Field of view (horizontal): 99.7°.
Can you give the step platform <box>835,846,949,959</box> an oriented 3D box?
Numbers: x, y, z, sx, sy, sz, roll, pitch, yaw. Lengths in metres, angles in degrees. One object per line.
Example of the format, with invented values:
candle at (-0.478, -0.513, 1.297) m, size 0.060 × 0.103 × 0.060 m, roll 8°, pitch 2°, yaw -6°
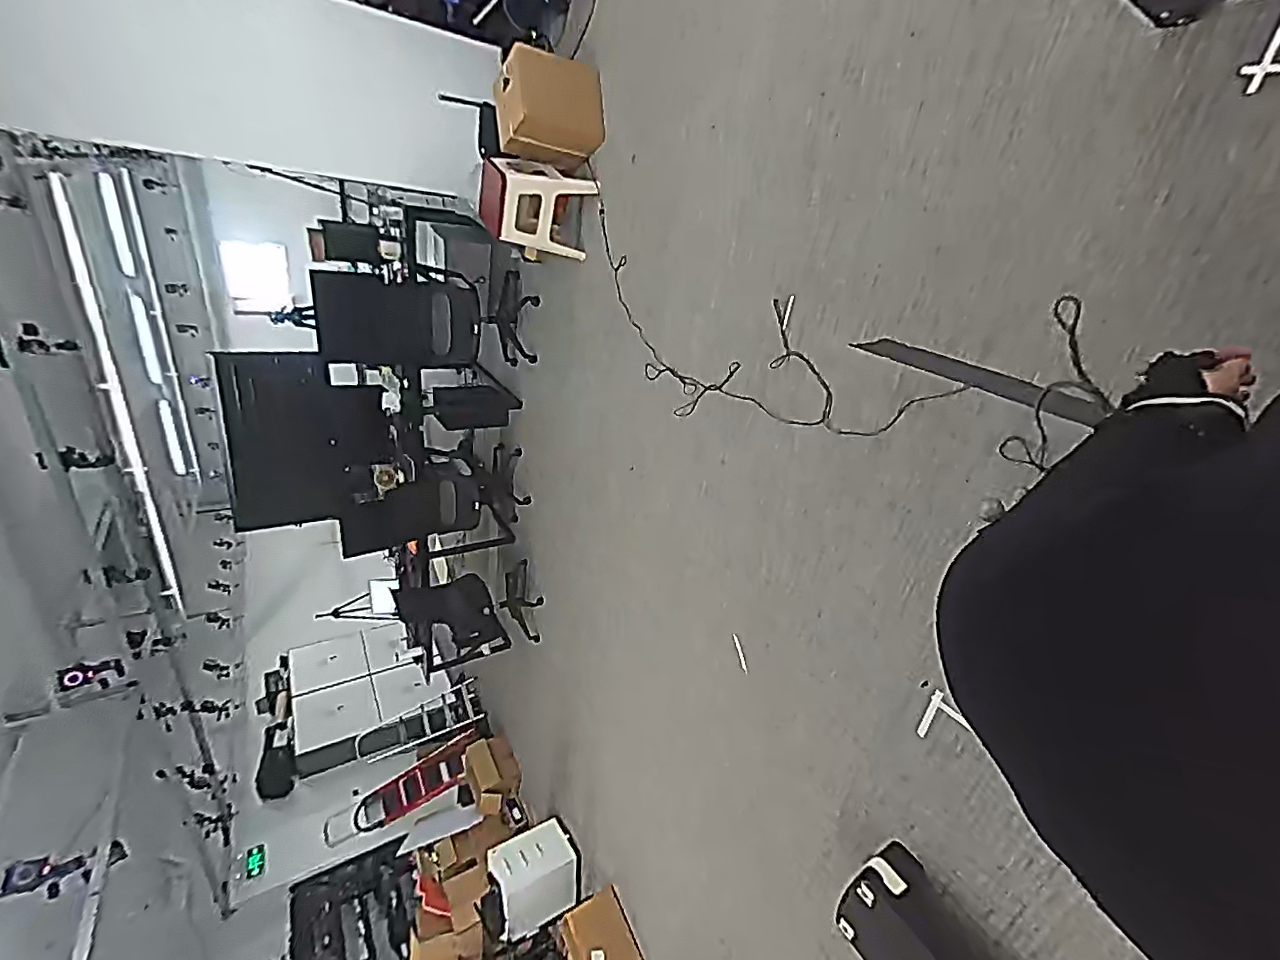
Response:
step platform at (0.873, 1.422, 1.482) m, size 0.684 × 0.204 × 0.286 m, roll 39°, pitch 129°, yaw 46°
